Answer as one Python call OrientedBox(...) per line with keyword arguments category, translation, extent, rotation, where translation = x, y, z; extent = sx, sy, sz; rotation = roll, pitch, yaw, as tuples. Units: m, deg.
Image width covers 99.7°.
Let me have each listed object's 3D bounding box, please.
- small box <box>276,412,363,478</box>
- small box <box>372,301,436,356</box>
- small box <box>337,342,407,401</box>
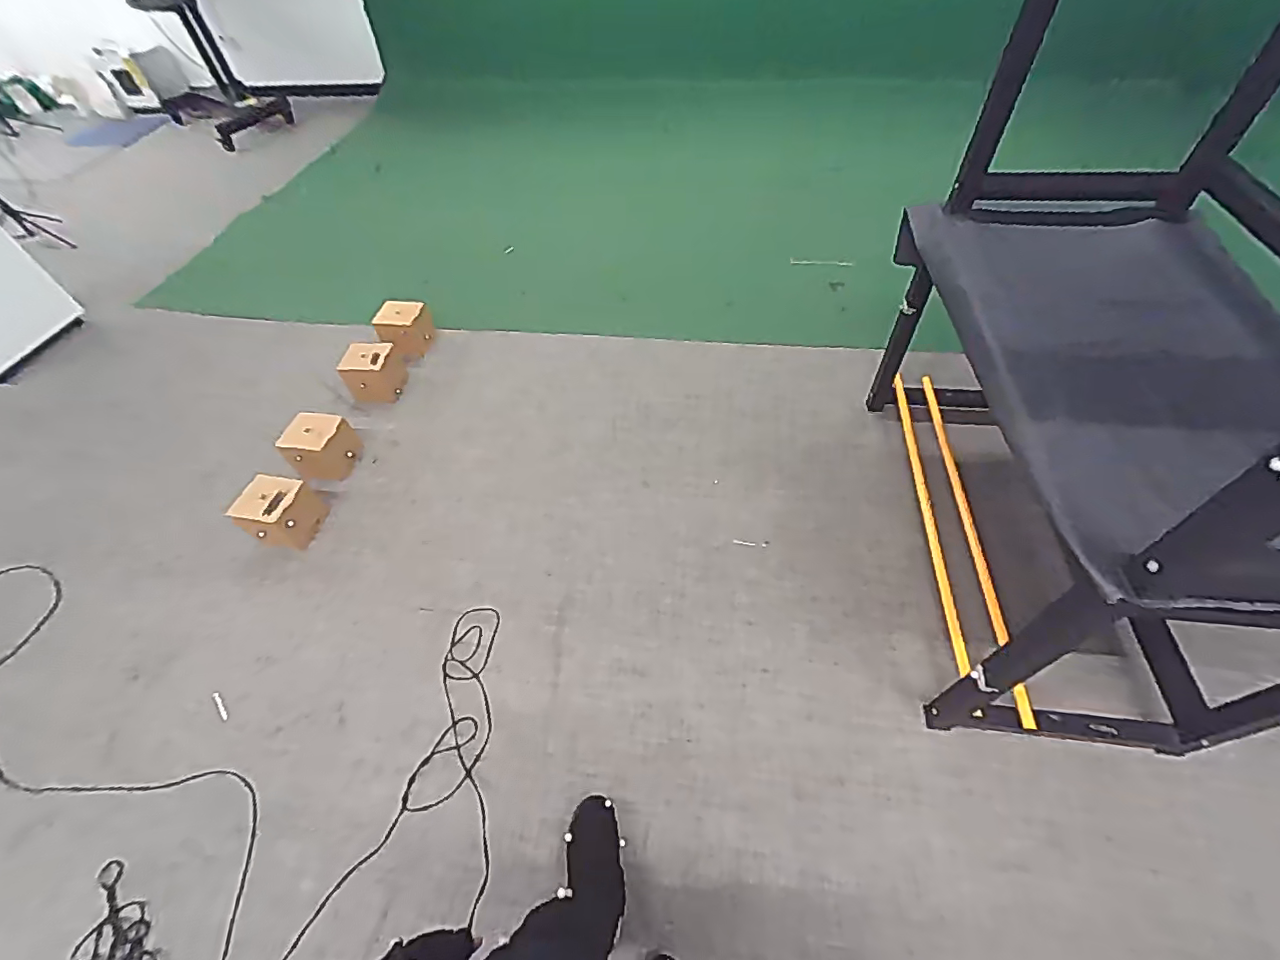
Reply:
OrientedBox(category="small box", translation=(-1.132, -0.123, 1.924), extent=(0.179, 0.176, 0.168), rotation=(6, 53, 7))
OrientedBox(category="small box", translation=(-1.021, -0.659, 2.352), extent=(0.179, 0.176, 0.168), rotation=(4, 53, 6))
OrientedBox(category="small box", translation=(-1.067, -0.433, 2.172), extent=(0.179, 0.176, 0.168), rotation=(1, 51, 5))
